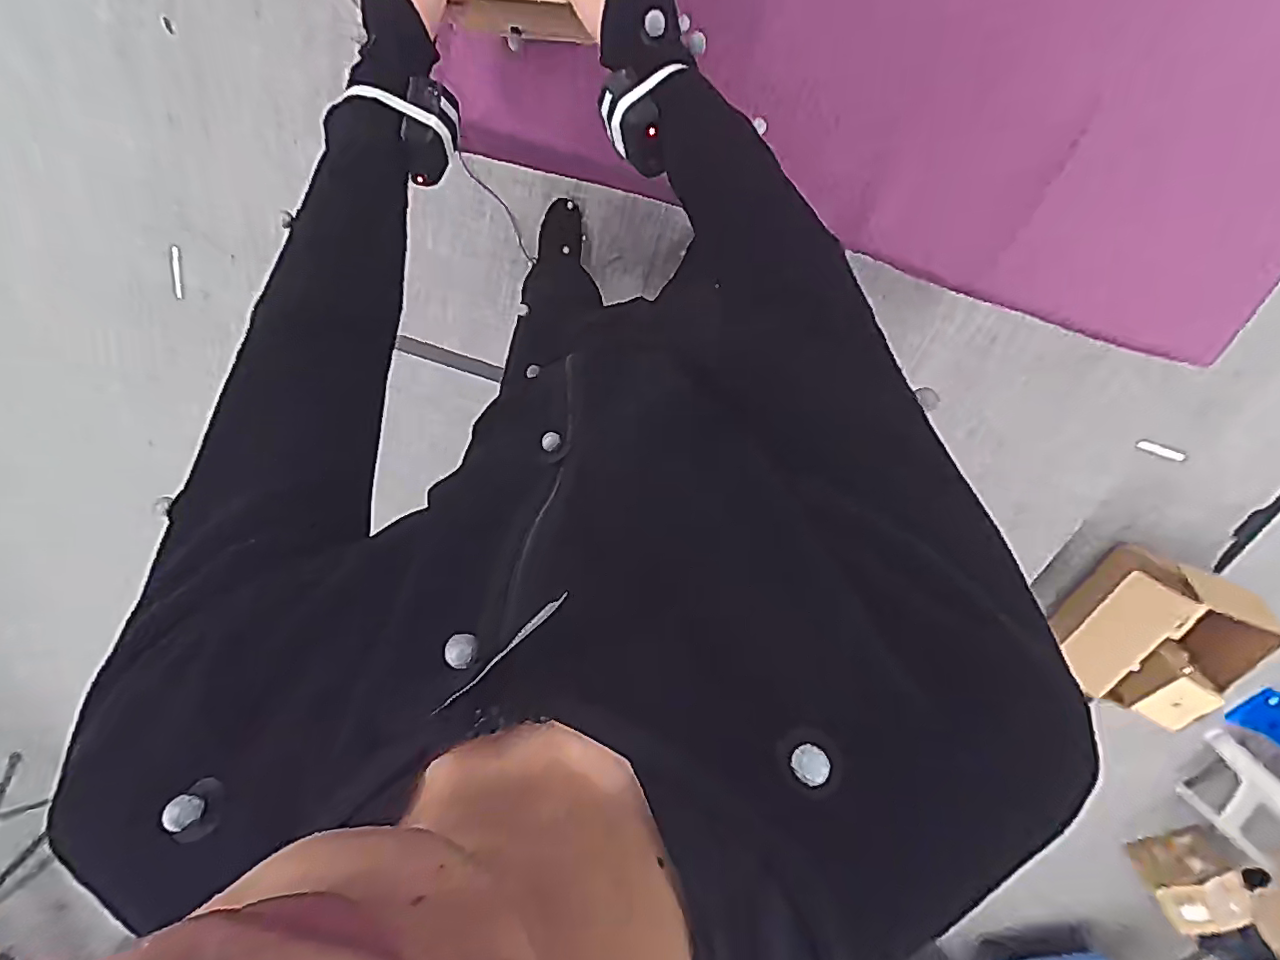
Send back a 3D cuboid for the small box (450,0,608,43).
[{"bbox_3d":[-0.110,-0.546,0.508,0.168,0.176,0.179,2,119,-4],"label":"small box"}]
